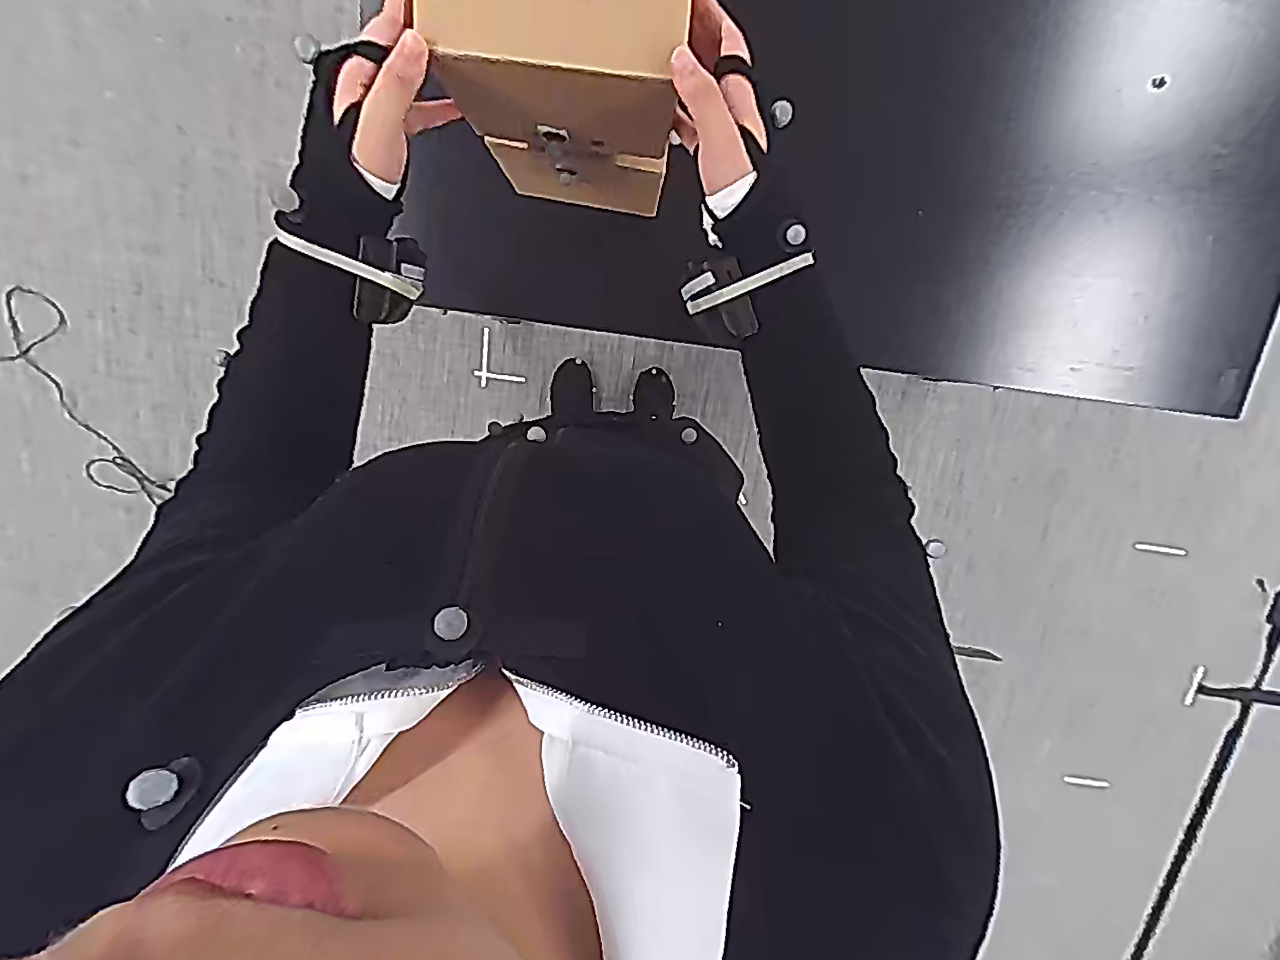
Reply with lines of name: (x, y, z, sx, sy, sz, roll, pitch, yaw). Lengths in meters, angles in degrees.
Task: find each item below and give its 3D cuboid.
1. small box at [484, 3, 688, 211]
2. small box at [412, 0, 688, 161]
small box: (-0.054, -0.409, 0.584, 0.179, 0.176, 0.168, 8, 102, -4)
small box: (-0.051, -0.361, 0.389, 0.168, 0.176, 0.179, 5, 105, -3)
